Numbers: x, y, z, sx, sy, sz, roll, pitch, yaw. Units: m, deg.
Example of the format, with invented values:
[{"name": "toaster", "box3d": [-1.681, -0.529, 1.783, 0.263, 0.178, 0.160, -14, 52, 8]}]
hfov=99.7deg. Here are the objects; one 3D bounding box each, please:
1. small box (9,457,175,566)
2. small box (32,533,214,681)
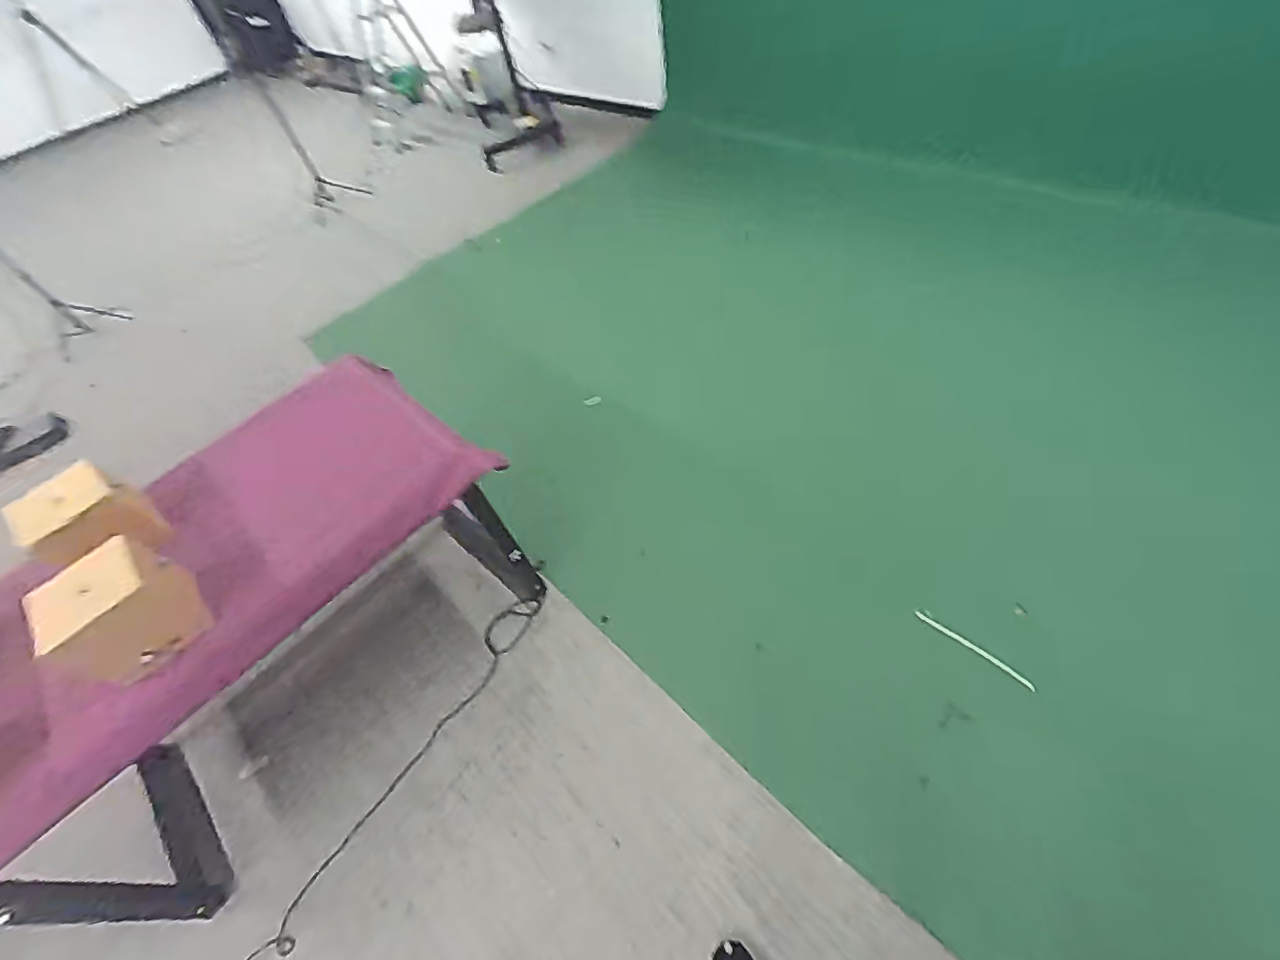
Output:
[{"name": "small box", "box3d": [-1.166, 0.087, 1.161, 0.179, 0.176, 0.168, 30, 63, 28]}, {"name": "small box", "box3d": [-0.945, 0.238, 0.999, 0.179, 0.176, 0.168, 34, 66, 32]}]
